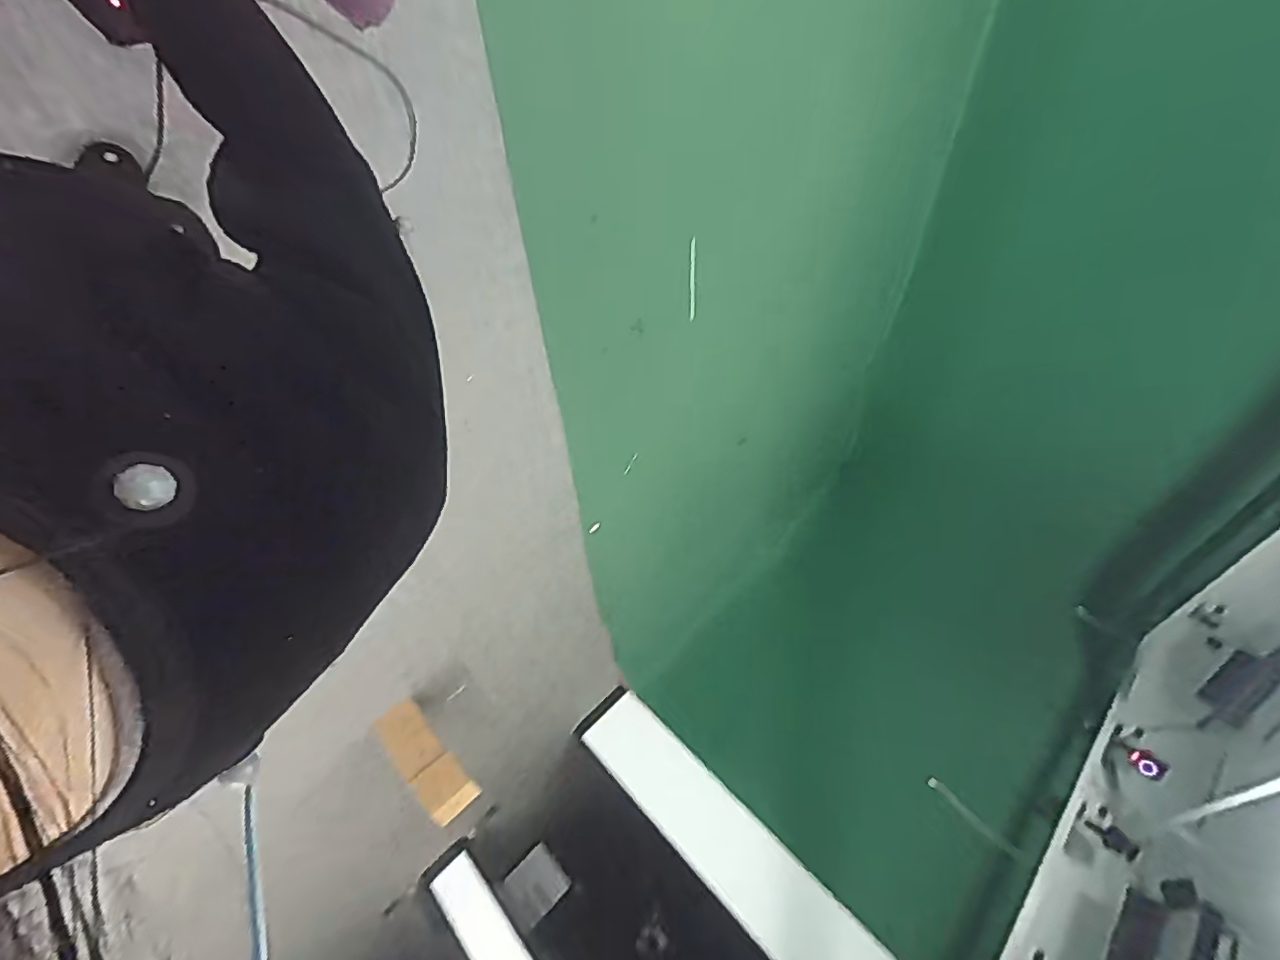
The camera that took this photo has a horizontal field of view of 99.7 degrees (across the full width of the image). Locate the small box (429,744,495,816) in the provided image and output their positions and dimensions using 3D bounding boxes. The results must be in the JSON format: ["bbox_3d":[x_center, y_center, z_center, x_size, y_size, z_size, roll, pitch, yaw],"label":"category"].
[{"bbox_3d":[-0.725,1.216,2.199,0.179,0.176,0.168,-36,143,-25],"label":"small box"}]
